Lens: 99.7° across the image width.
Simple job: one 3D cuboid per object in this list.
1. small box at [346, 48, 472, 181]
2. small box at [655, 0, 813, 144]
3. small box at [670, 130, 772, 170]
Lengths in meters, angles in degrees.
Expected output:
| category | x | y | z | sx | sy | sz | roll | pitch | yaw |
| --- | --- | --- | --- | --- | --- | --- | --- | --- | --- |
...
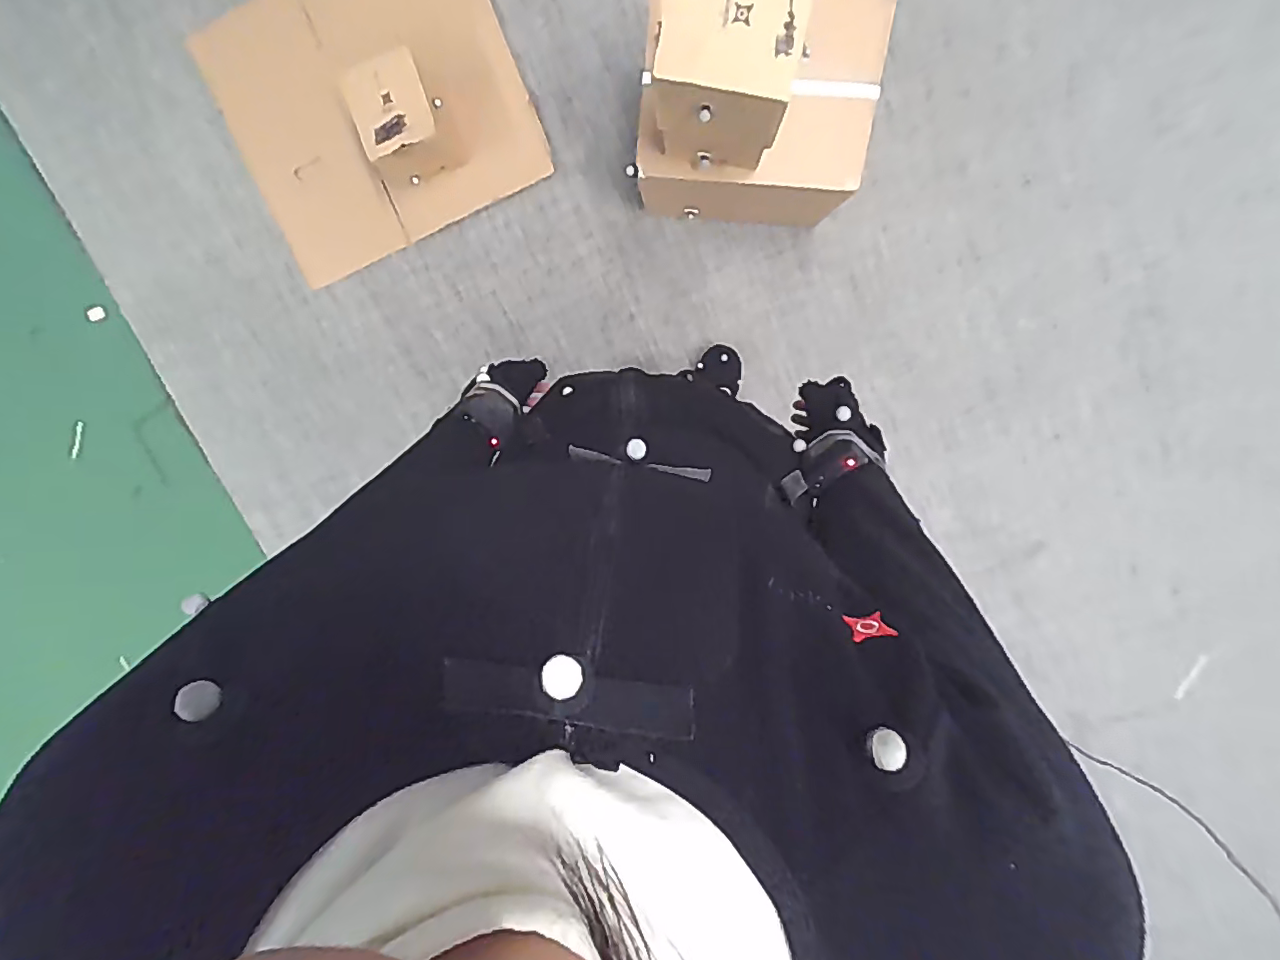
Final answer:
| category | x | y | z | sx | sy | sz | roll | pitch | yaw |
| --- | --- | --- | --- | --- | --- | --- | --- | --- | --- |
| small box | -0.496 | -0.788 | 1.193 | 0.168 | 0.176 | 0.179 | -15 | 100 | 10 |
| small box | 0.123 | -0.575 | 0.719 | 0.179 | 0.176 | 0.168 | 9 | 103 | 4 |
| small box | 0.139 | -0.628 | 0.871 | 0.168 | 0.176 | 0.179 | 9 | 106 | 5 |
